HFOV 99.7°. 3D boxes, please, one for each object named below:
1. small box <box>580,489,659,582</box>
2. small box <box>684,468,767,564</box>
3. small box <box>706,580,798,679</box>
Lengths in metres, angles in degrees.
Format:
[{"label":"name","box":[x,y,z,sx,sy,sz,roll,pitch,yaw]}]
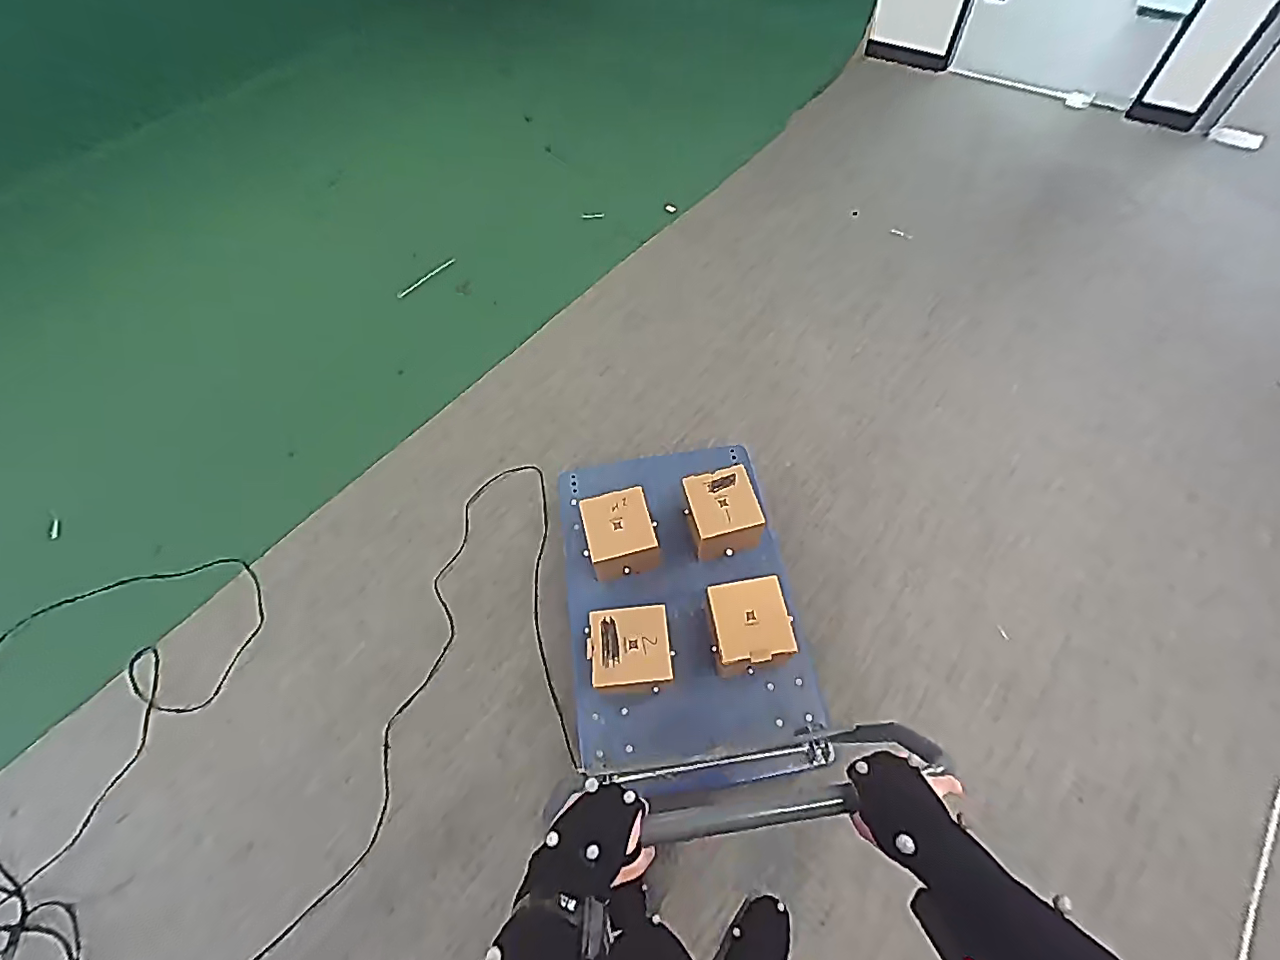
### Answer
[{"label":"small box","box":[-0.049,0.153,1.402,0.168,0.176,0.179,-13,60,-5]},{"label":"small box","box":[0.214,0.098,1.415,0.168,0.176,0.179,-14,61,-3]},{"label":"small box","box":[0.253,0.353,1.270,0.168,0.176,0.179,-9,61,-1]}]
